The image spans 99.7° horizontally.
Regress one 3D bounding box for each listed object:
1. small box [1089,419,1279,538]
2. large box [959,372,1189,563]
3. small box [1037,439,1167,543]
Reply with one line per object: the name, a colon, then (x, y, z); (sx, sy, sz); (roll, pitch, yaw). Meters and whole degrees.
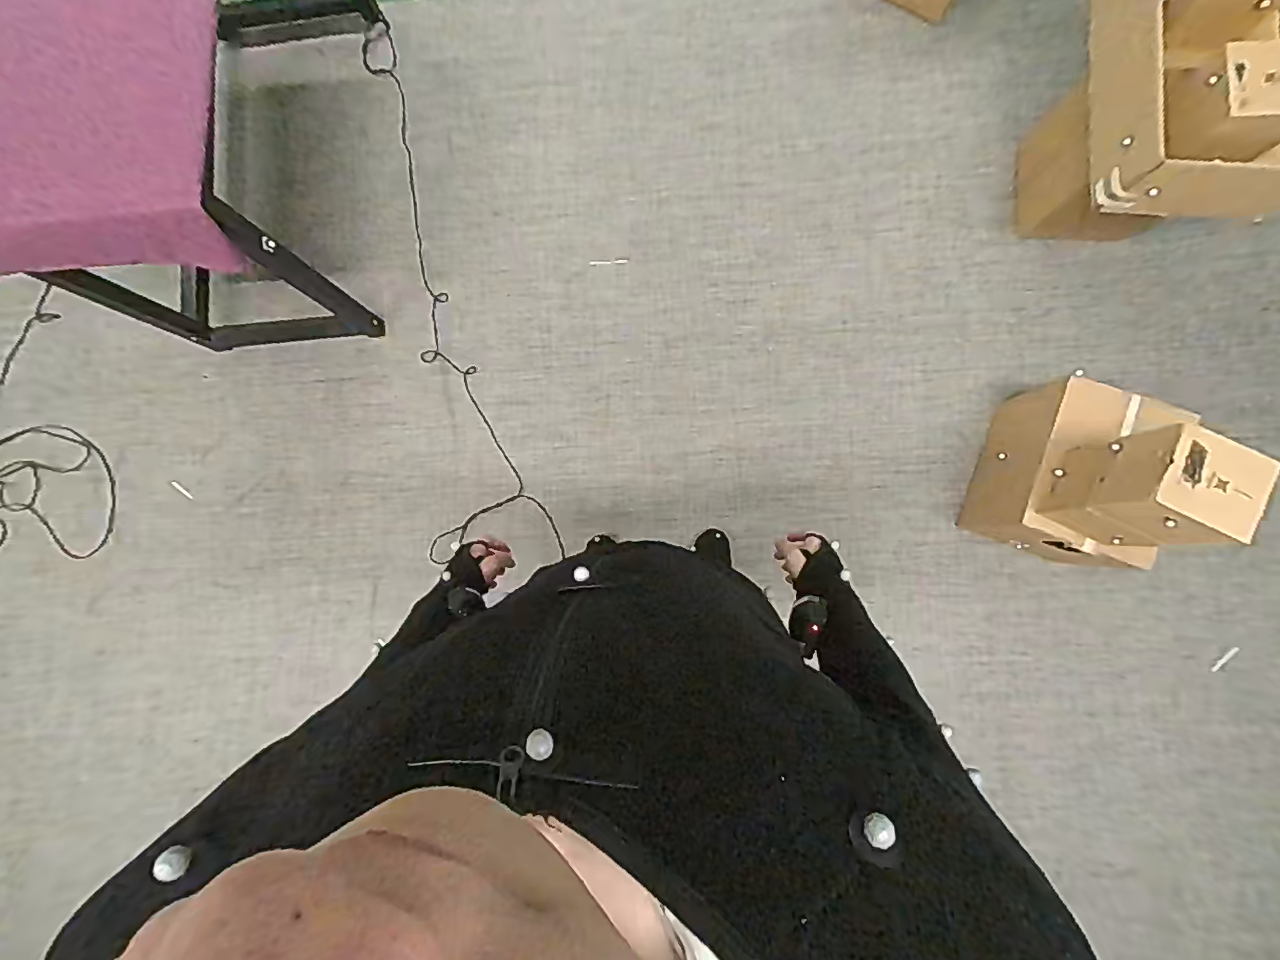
small box: (1.042, 0.006, 1.054); (0.179, 0.176, 0.168); (27, 86, 6)
large box: (1.139, -0.018, 1.462); (0.320, 0.320, 0.408); (20, 85, 4)
small box: (1.057, 0.028, 1.216); (0.179, 0.176, 0.168); (27, 86, 7)
